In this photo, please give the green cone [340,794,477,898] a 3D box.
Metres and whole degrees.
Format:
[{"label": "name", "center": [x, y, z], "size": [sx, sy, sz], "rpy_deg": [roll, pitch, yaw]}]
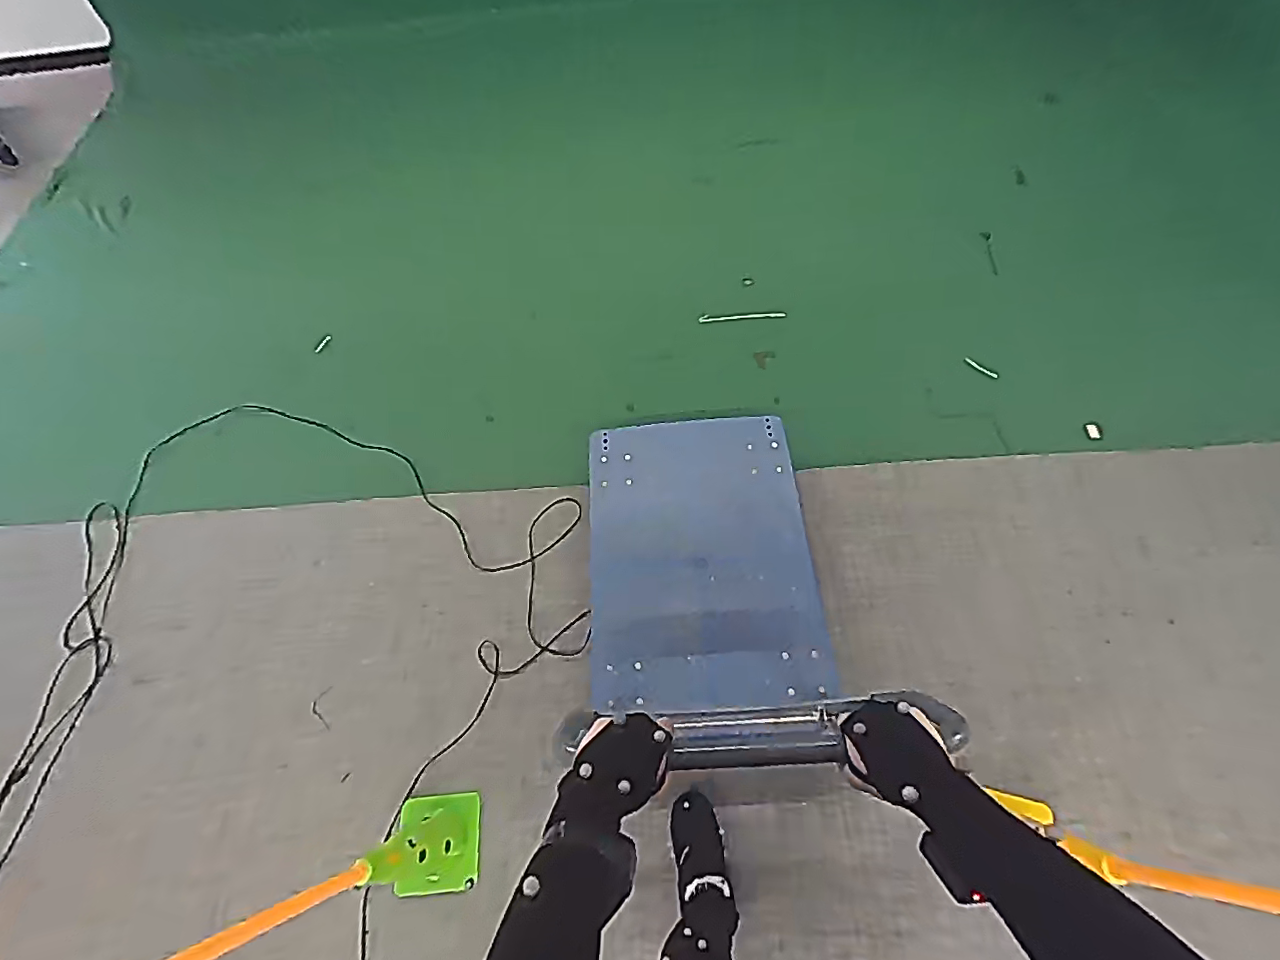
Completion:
[{"label": "green cone", "center": [-0.511, 0.802, 1.153], "size": [0.202, 0.368, 0.200], "rpy_deg": [-8, 63, 3]}]
